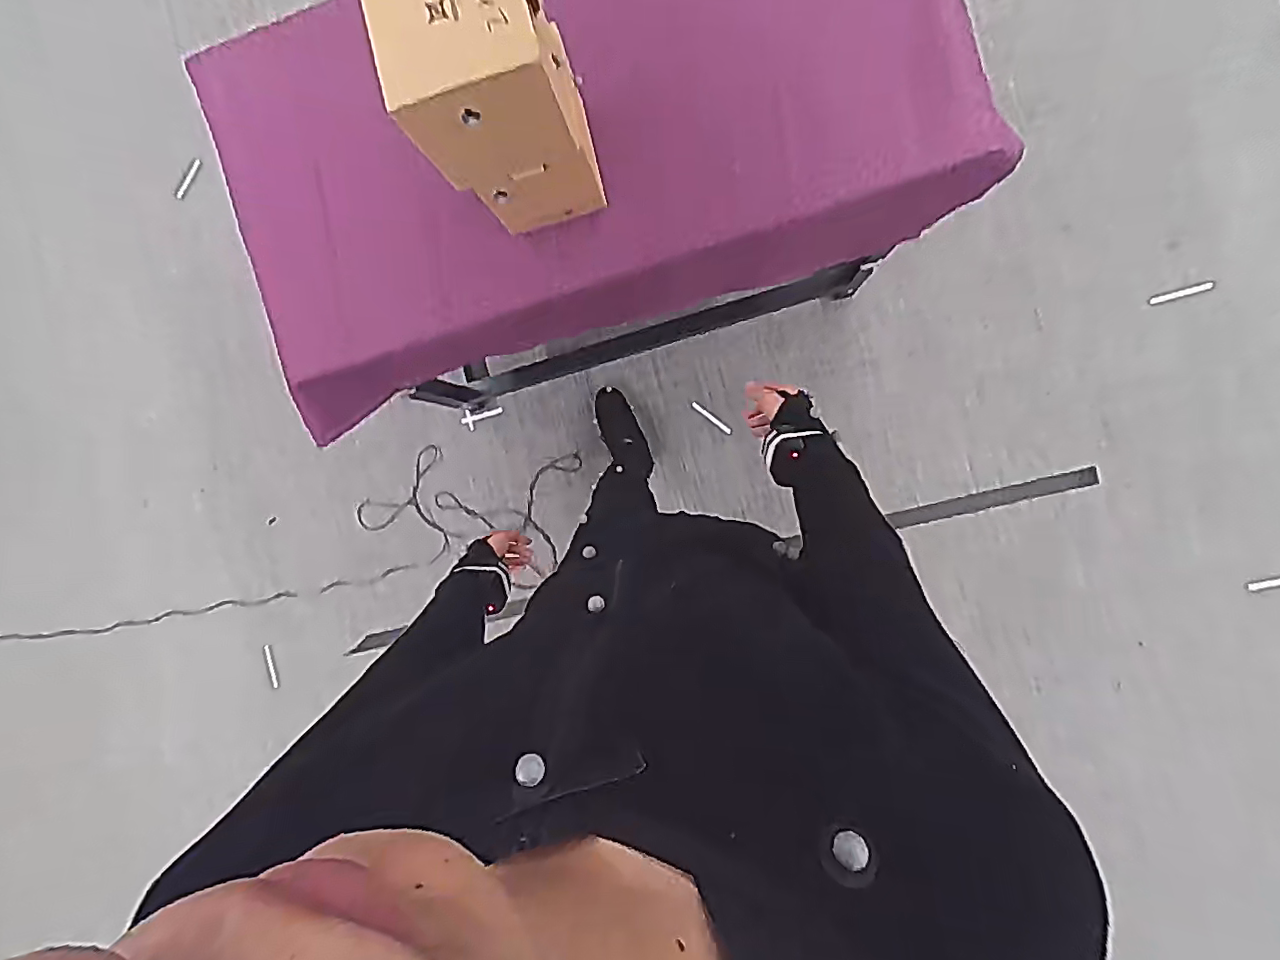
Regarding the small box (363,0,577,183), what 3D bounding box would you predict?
[{"bbox_3d":[-0.190,-0.487,0.638,0.179,0.176,0.168,-13,90,7],"label":"small box"}]
